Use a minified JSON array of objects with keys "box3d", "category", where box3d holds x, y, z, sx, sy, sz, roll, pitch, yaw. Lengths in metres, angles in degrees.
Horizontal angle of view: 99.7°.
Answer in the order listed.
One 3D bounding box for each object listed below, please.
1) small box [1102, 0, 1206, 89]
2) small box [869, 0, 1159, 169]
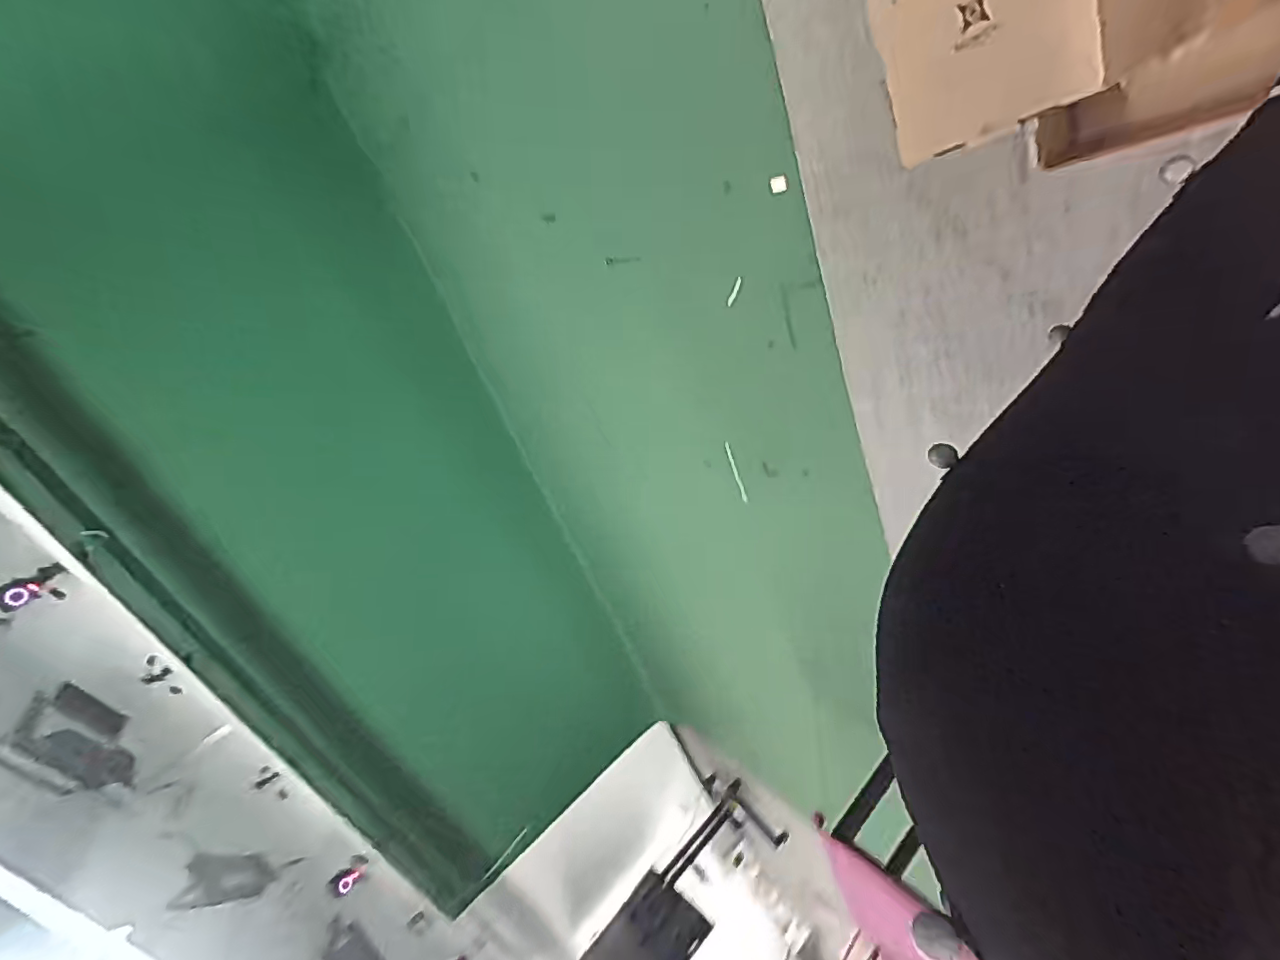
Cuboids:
[{"box3d":[0.465,-0.509,0.572,0.168,0.176,0.179,8,128,55],"category":"small box"},{"box3d":[0.344,-0.427,0.496,0.168,0.176,0.179,8,129,54],"category":"small box"}]
